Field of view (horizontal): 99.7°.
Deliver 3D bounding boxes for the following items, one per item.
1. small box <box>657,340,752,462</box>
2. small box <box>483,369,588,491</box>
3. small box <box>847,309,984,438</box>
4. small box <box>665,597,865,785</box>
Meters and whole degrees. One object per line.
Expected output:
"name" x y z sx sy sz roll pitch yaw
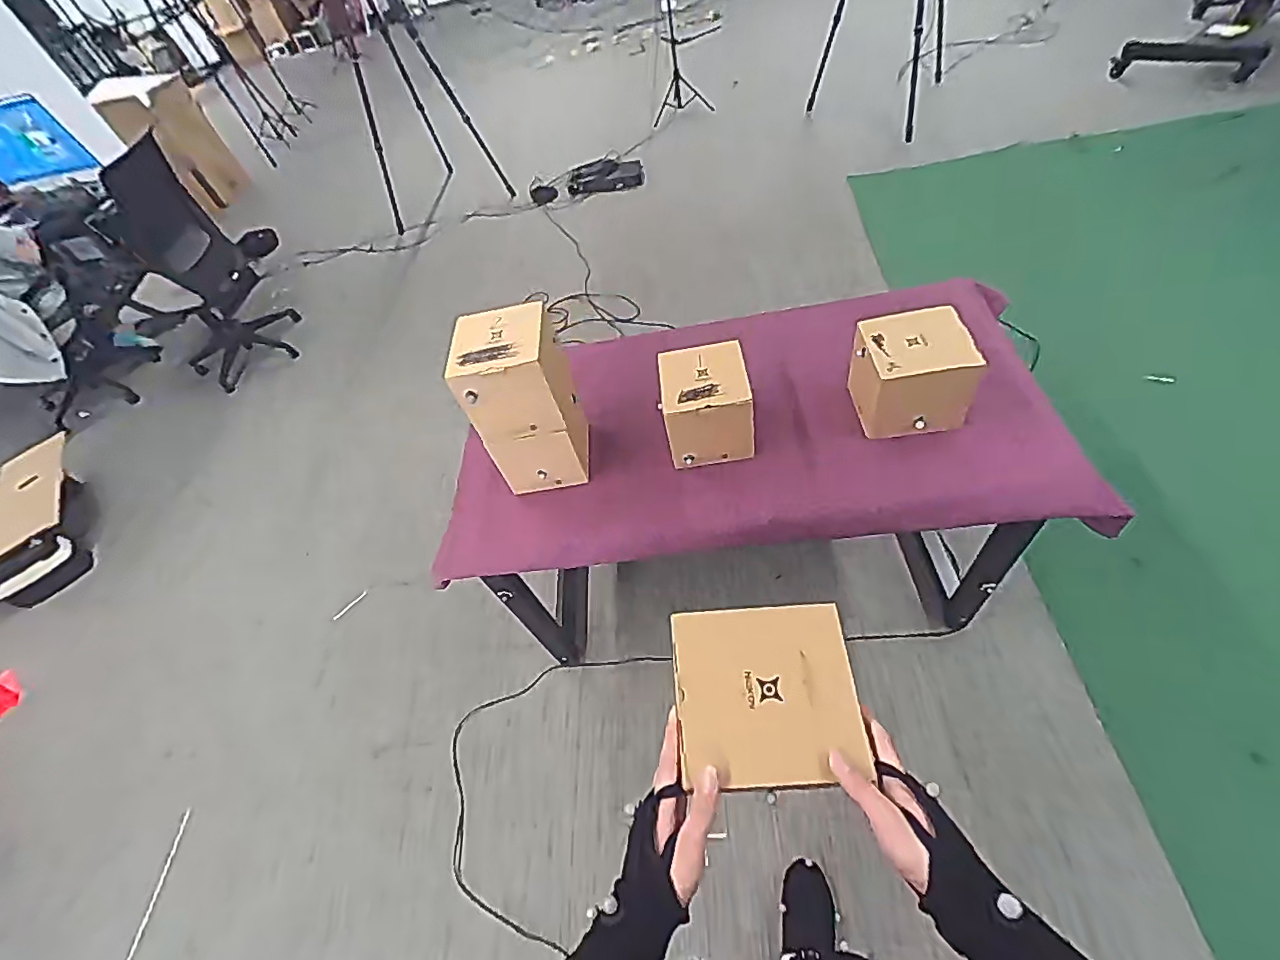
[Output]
"small box" 0.132 -0.151 1.095 0.168 0.176 0.179 -8 52 7
"small box" -0.209 -0.102 1.134 0.168 0.176 0.179 -9 53 6
"small box" 0.516 -0.200 1.042 0.179 0.176 0.168 -7 53 8
"small box" 0.122 0.239 0.598 0.179 0.176 0.168 -4 59 3
